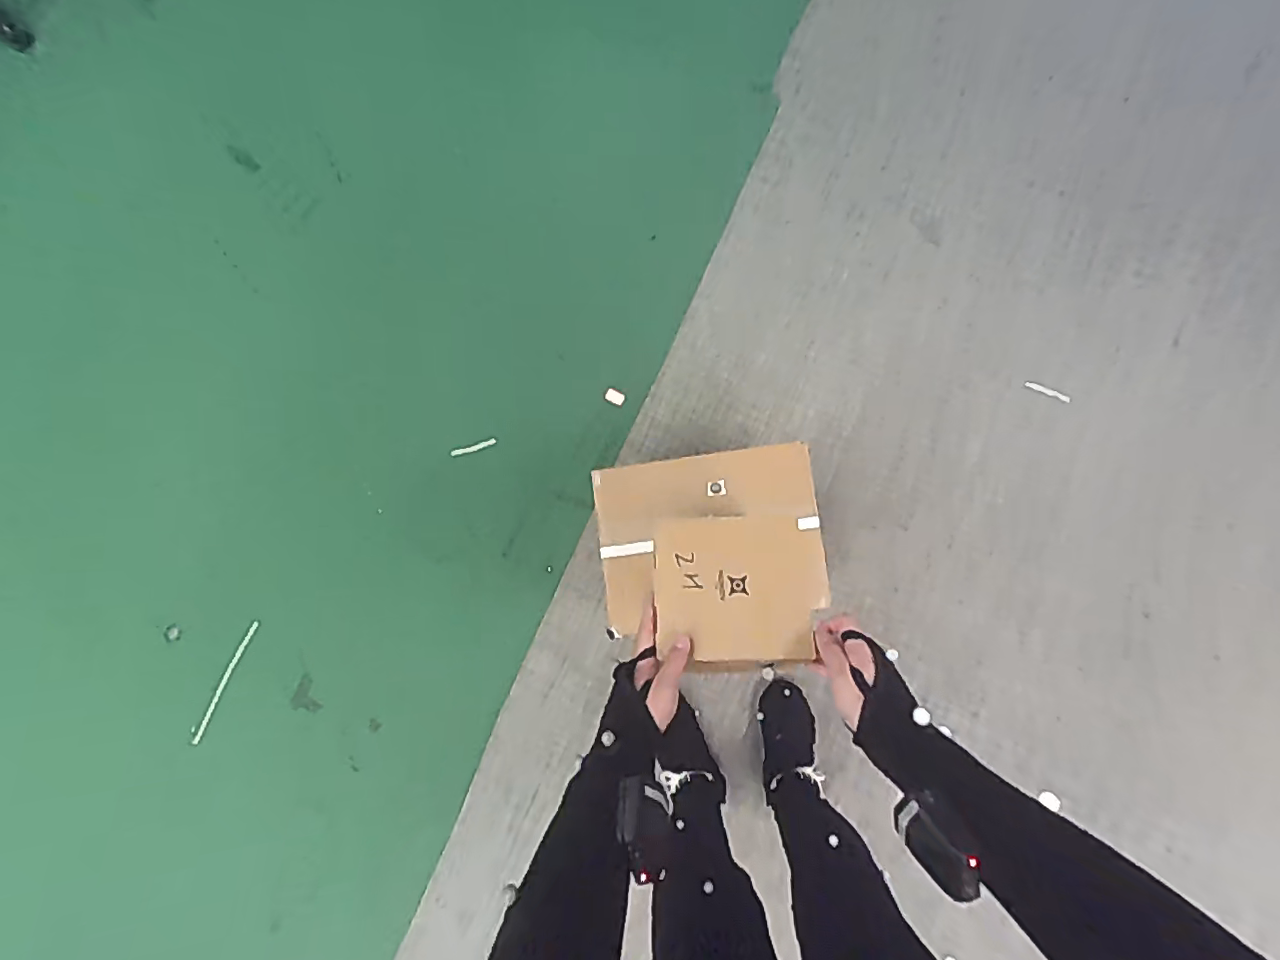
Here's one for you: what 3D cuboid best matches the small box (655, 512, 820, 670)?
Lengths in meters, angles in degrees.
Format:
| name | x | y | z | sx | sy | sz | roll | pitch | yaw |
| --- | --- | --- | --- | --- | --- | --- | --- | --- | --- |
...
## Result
| name | x | y | z | sx | sy | sz | roll | pitch | yaw |
| --- | --- | --- | --- | --- | --- | --- | --- | --- | --- |
| small box | 0.108 | 0.145 | 0.677 | 0.179 | 0.176 | 0.168 | -1 | 67 | 2 |
